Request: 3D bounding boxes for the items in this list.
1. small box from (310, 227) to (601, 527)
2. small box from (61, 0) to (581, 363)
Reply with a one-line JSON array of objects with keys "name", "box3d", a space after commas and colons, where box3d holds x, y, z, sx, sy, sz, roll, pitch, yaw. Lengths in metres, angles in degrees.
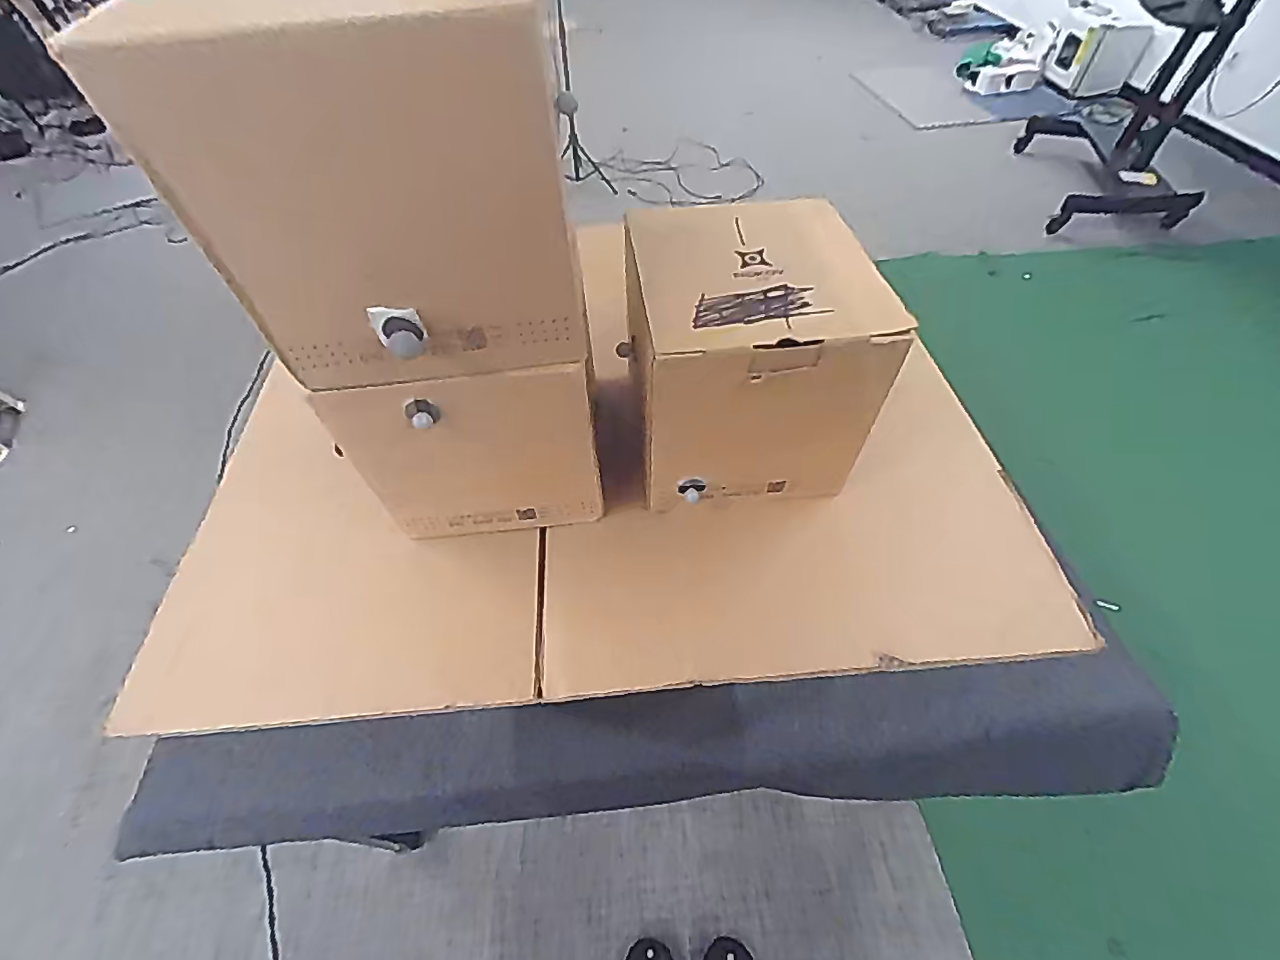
[{"name": "small box", "box3d": [-0.123, -0.083, 0.442, 0.168, 0.176, 0.179, -5, 52, -1]}, {"name": "small box", "box3d": [-0.128, -0.191, 0.301, 0.168, 0.176, 0.179, -8, 55, -4]}]
